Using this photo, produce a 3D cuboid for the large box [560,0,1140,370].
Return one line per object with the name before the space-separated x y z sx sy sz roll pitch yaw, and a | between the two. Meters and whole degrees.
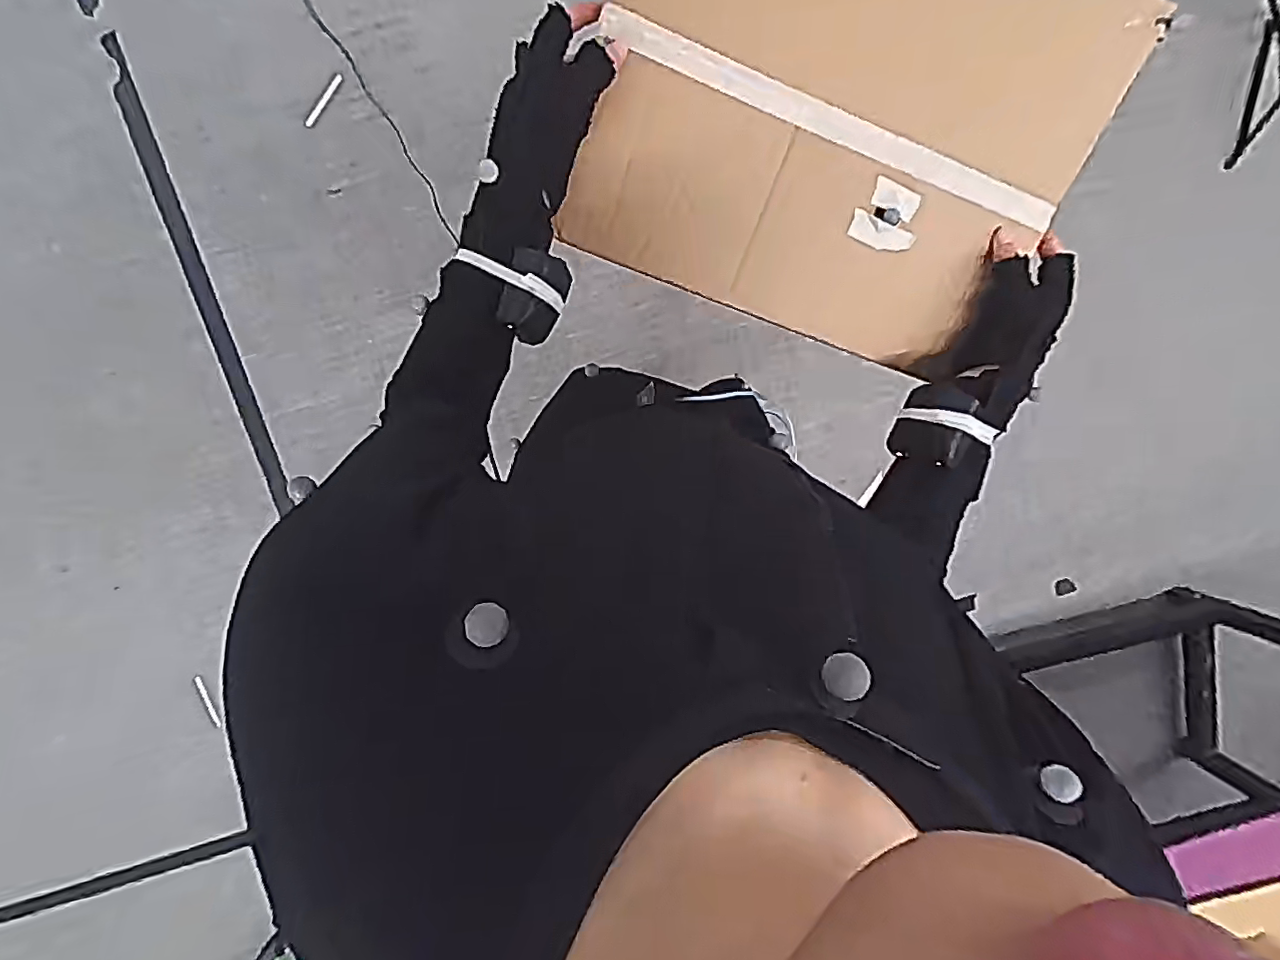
large box | 0.155 -0.358 0.587 0.408 0.320 0.320 17 114 -10
